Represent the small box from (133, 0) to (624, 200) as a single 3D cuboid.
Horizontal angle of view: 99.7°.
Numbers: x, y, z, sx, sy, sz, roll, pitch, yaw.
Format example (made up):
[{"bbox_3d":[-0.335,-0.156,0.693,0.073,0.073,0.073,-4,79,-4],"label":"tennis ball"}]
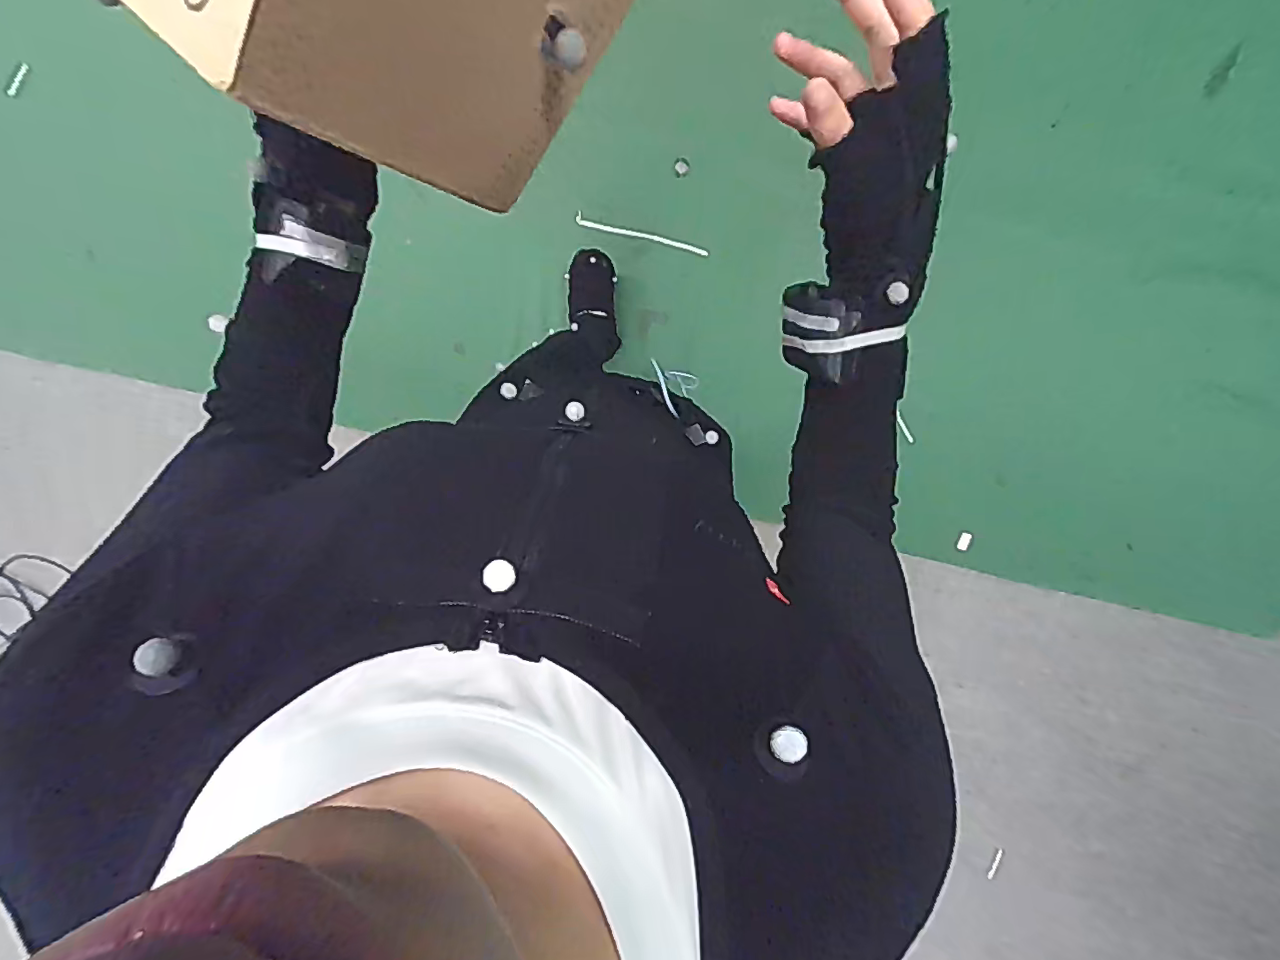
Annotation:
[{"bbox_3d":[-0.112,-0.255,0.218,0.168,0.176,0.179,43,111,6],"label":"small box"}]
